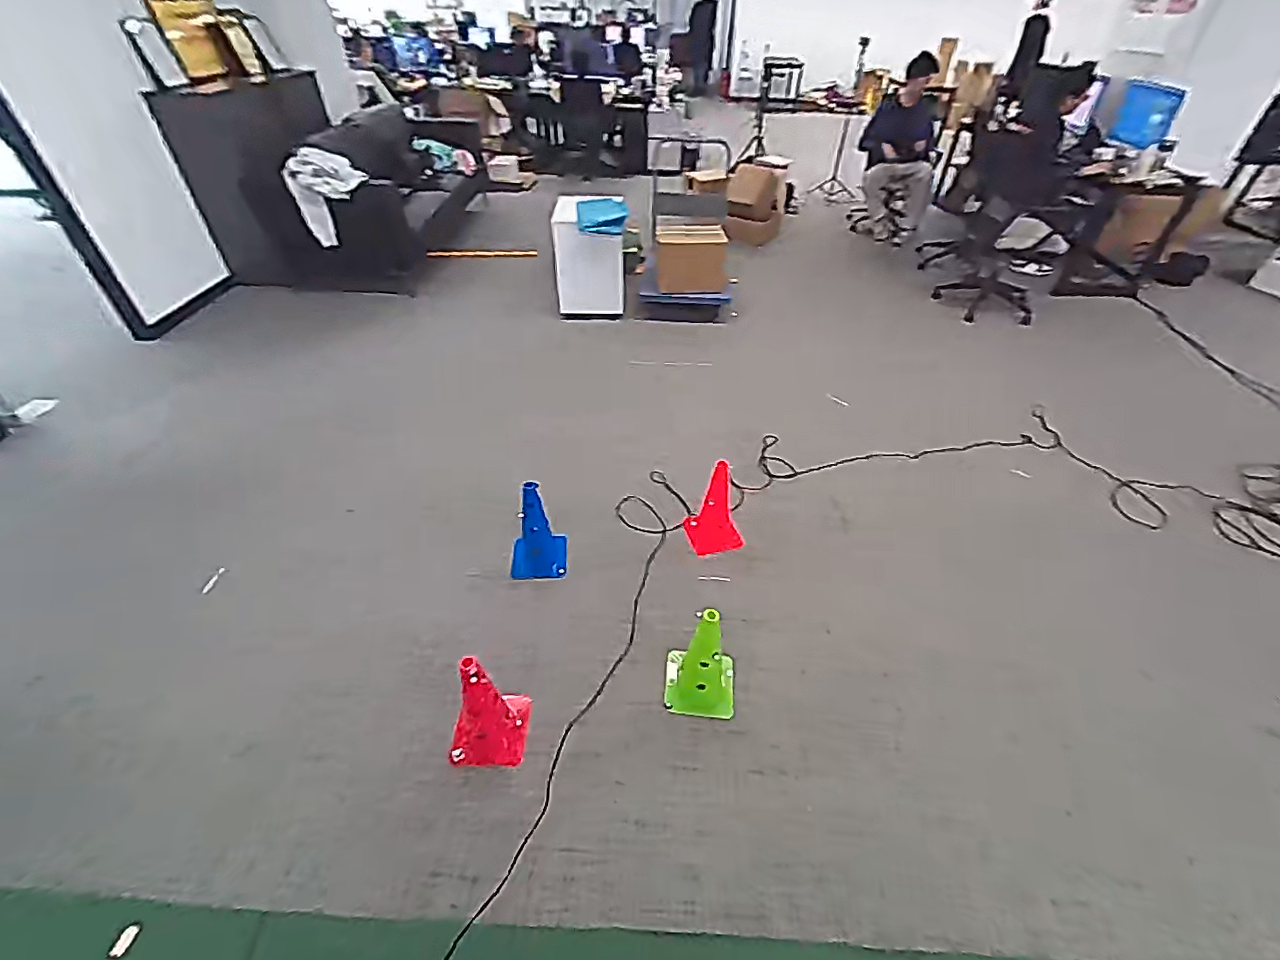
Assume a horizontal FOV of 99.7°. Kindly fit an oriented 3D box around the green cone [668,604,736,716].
[{"bbox_3d":[0.190,0.476,1.512,0.200,0.368,0.202,4,40,3],"label":"green cone"}]

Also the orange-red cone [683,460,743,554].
[{"bbox_3d":[0.283,0.073,1.976,0.198,0.360,0.199,-11,44,-11],"label":"orange-red cone"}]
